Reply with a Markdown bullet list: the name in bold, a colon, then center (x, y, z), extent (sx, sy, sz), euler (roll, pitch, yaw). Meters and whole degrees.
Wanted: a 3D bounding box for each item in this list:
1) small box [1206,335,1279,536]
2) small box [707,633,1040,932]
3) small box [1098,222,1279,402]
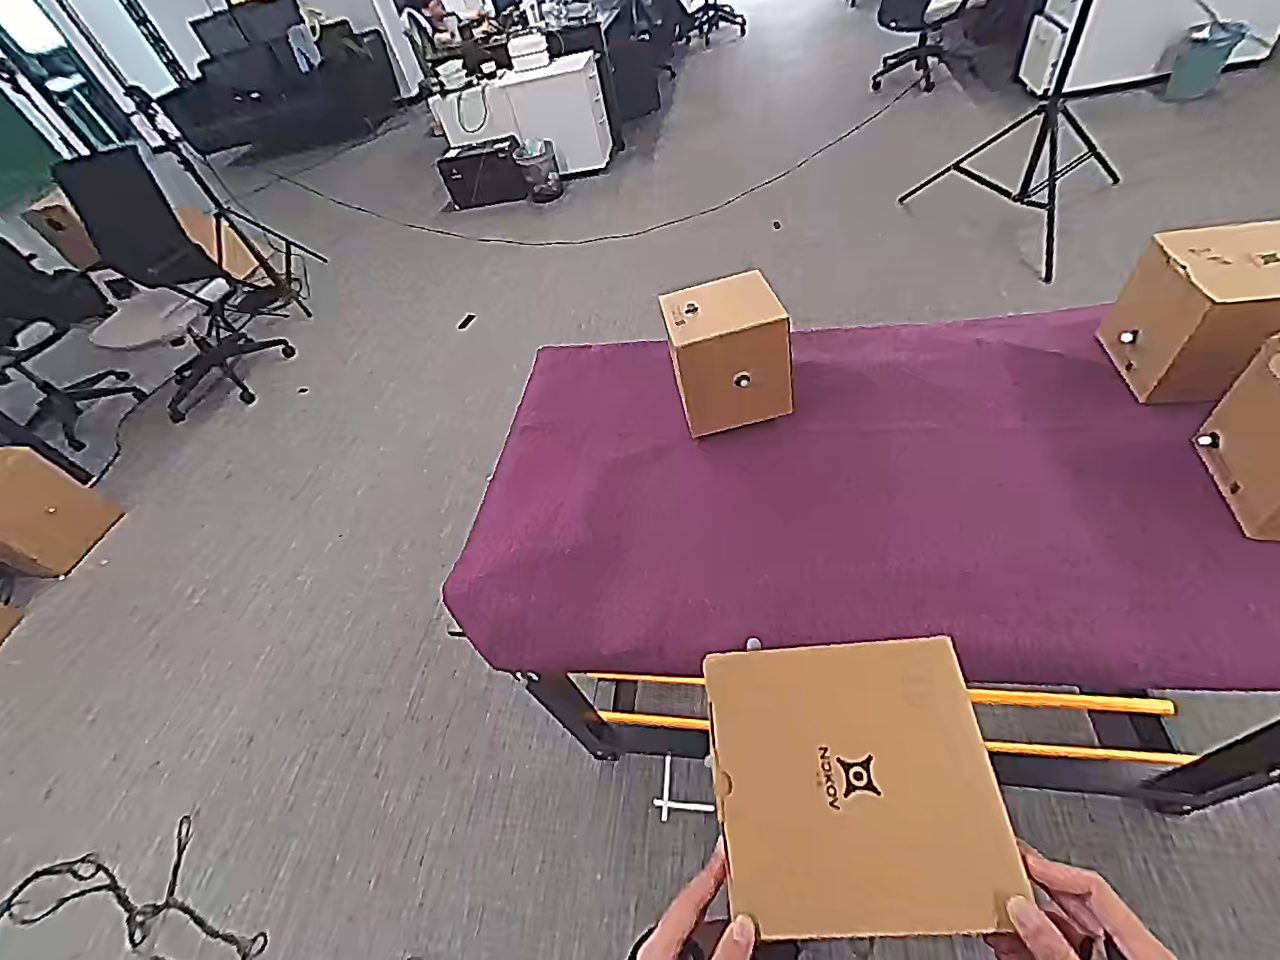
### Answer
- **small box**: center (0.779, -0.043, 0.583), extent (0.179, 0.176, 0.168), euler (3, 50, 17)
- **small box**: center (0.150, 0.224, 0.420), extent (0.179, 0.176, 0.168), euler (-8, 61, 7)
- **small box**: center (0.787, -0.223, 0.736), extent (0.179, 0.176, 0.168), euler (-2, 51, 13)
